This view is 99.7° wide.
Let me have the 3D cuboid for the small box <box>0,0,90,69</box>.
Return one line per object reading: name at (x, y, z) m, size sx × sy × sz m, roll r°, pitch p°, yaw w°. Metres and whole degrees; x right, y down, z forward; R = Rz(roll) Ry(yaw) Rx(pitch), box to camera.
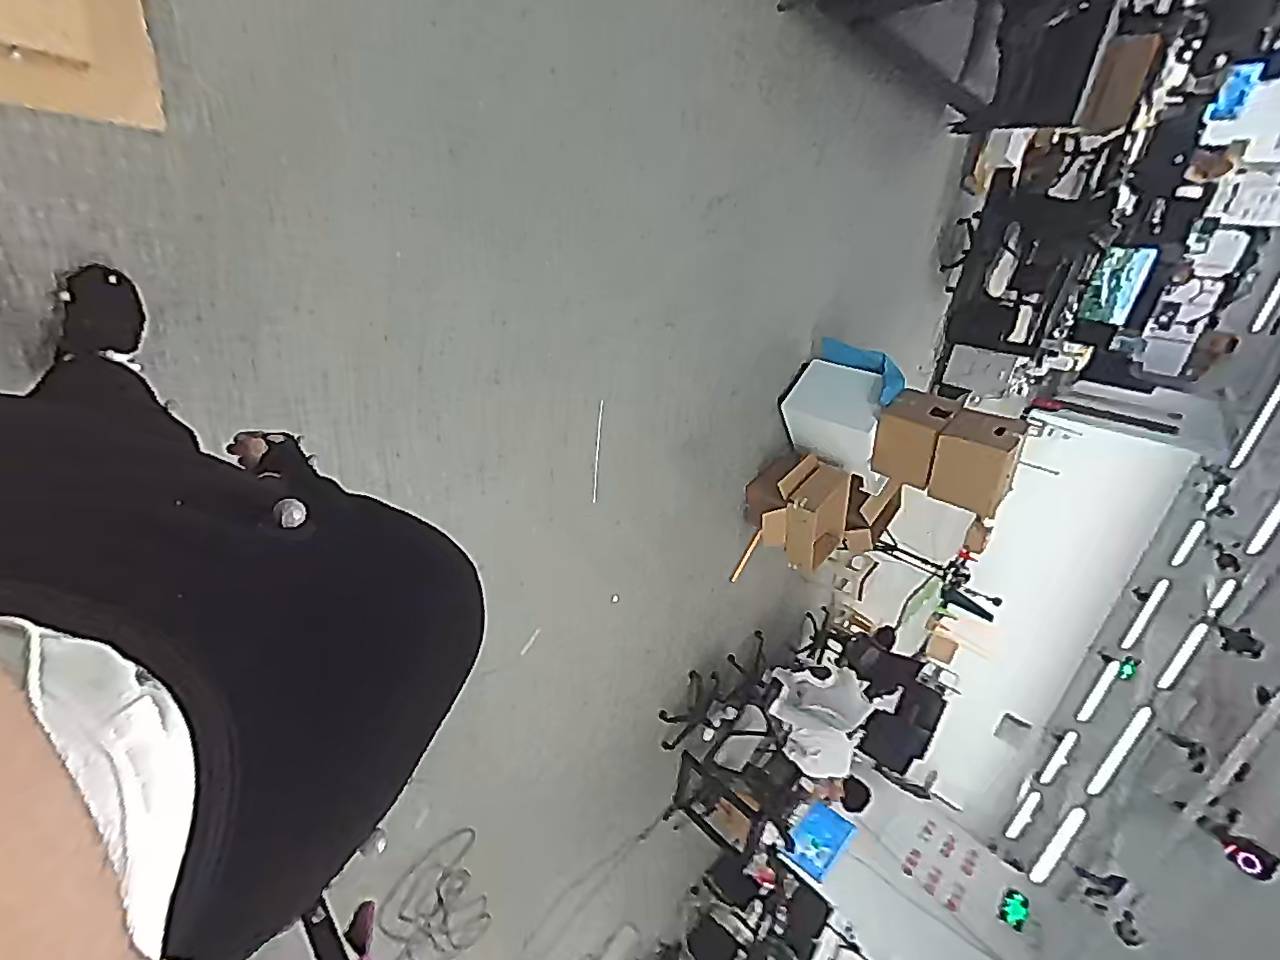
small box at (-1.007, -0.773, 0.848) m, size 0.179 × 0.176 × 0.168 m, roll -15°, pitch 123°, yaw -44°
